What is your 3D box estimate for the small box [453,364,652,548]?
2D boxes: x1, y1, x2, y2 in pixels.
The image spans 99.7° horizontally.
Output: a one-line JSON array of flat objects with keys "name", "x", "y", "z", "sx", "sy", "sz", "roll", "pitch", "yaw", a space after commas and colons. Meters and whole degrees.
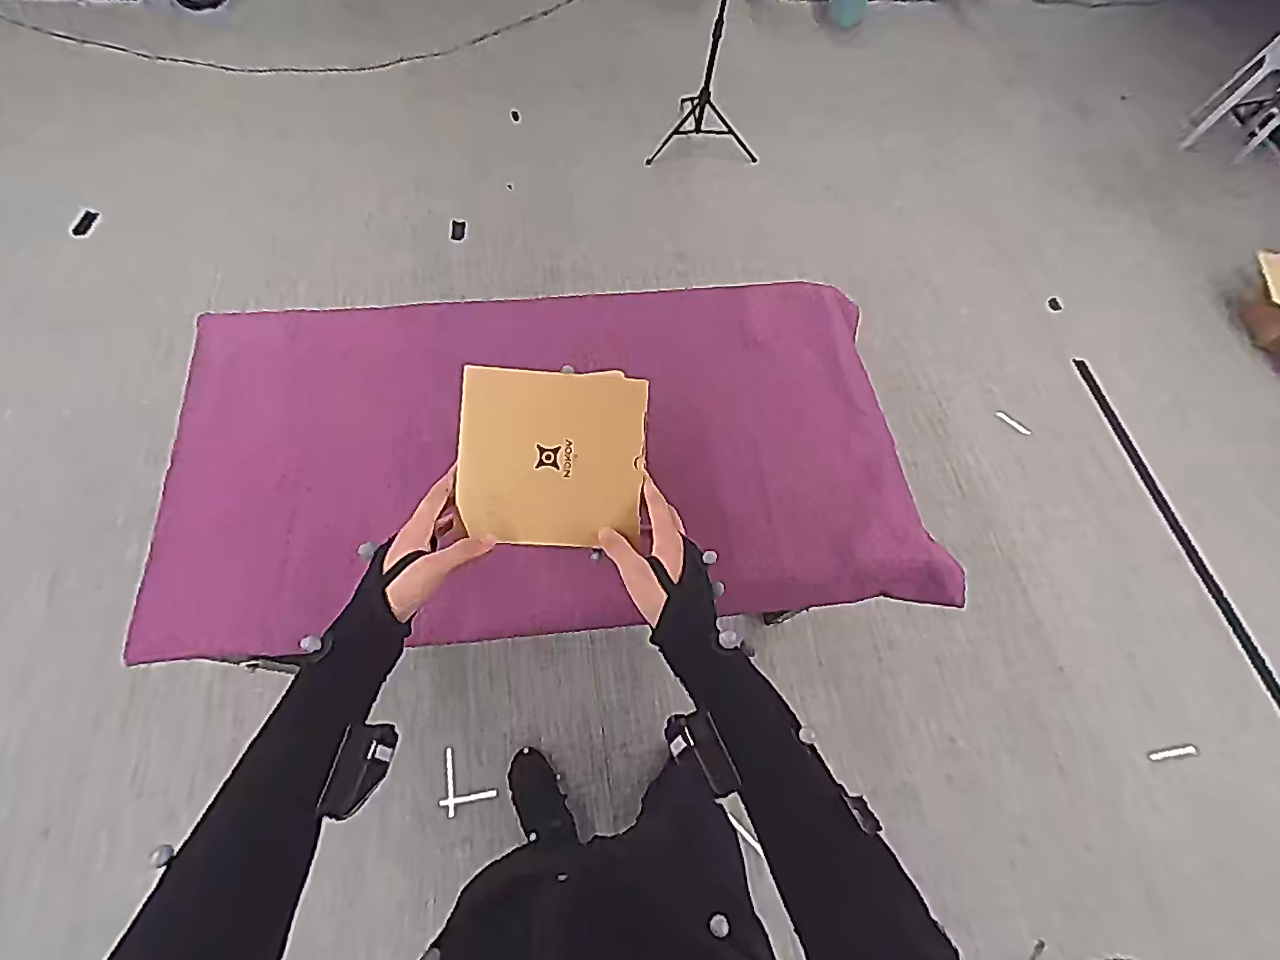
[{"name": "small box", "x": -0.089, "y": -0.016, "z": 0.584, "sx": 0.179, "sy": 0.176, "sz": 0.168, "roll": 4, "pitch": 86, "yaw": -8}]
